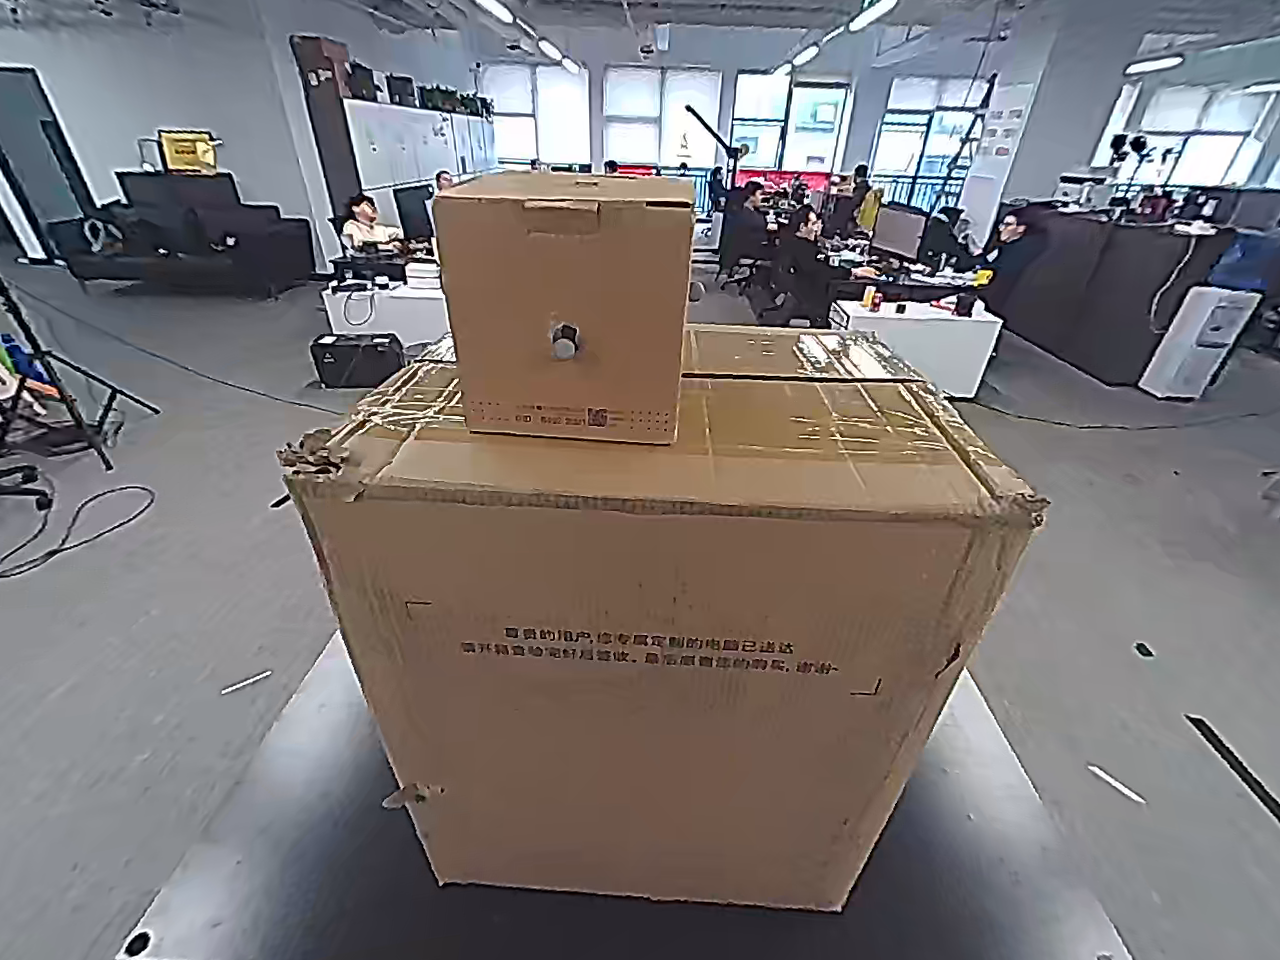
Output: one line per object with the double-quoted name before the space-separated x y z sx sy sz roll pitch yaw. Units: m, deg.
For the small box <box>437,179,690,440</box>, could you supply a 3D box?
"small box" -0.045 -0.146 0.453 0.168 0.176 0.179 4 34 2
